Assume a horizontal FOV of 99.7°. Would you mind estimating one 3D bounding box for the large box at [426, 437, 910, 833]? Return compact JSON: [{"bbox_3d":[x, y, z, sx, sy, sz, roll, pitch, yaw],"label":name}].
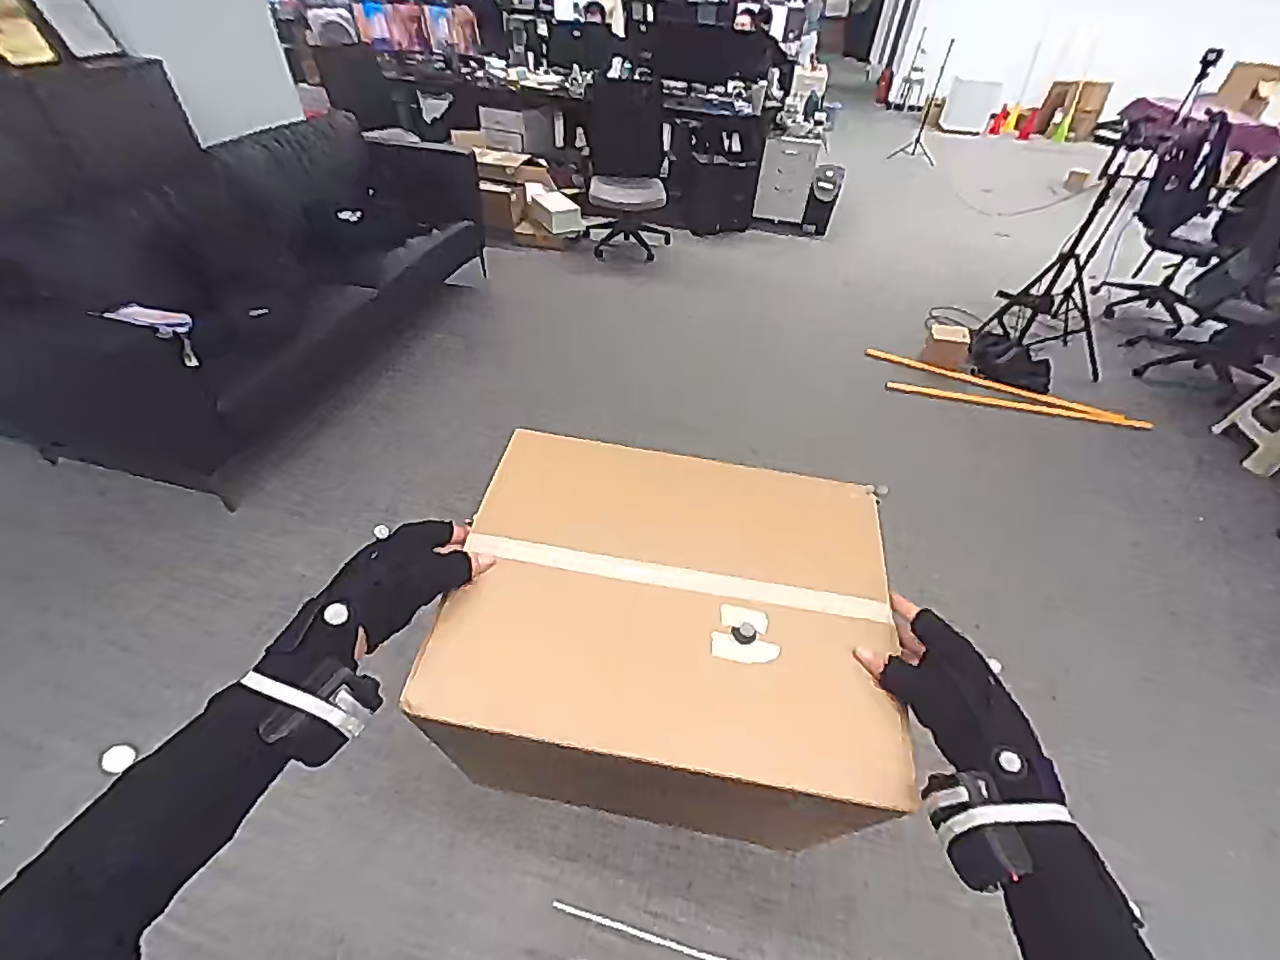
[{"bbox_3d":[0.028,0.189,0.639,0.408,0.320,0.320,10,52,2],"label":"large box"}]
